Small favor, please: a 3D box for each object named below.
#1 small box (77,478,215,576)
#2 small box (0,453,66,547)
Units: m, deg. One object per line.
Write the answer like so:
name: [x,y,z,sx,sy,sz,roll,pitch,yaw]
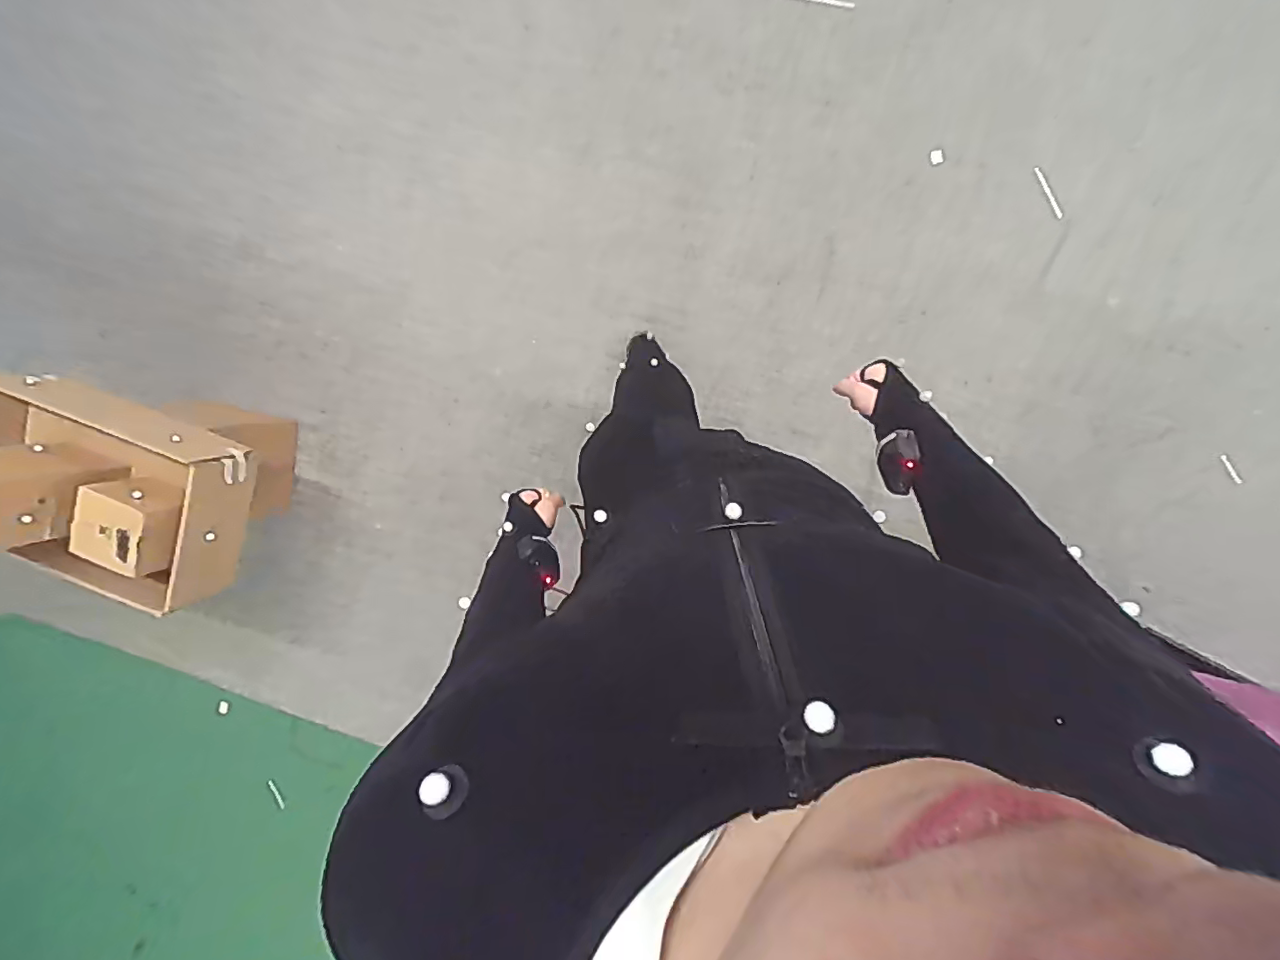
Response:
small box: [-1.180,0.104,1.302,0.179,0.176,0.168,21,100,6]
small box: [-1.418,0.045,1.164,0.179,0.176,0.168,19,100,2]
